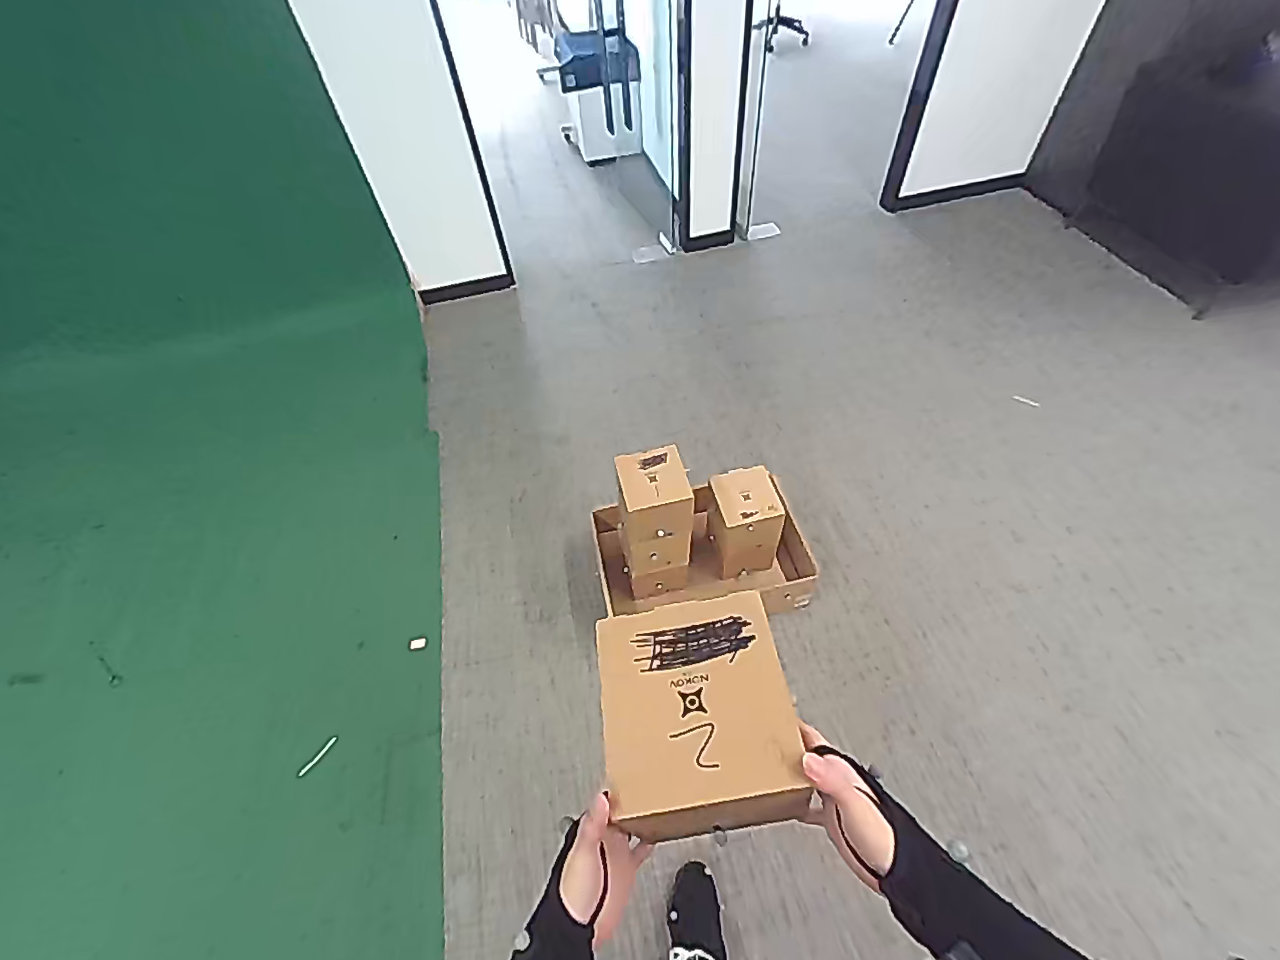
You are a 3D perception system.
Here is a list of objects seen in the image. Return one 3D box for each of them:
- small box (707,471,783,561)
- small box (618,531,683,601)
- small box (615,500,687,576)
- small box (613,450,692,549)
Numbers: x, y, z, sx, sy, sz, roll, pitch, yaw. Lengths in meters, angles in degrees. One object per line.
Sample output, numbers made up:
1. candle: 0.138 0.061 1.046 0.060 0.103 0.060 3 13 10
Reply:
1. small box: 0.290 0.104 1.543 0.168 0.176 0.179 -12 52 -4
2. small box: 0.034 0.253 1.649 0.168 0.176 0.179 -11 52 -6
3. small box: 0.032 0.154 1.522 0.168 0.176 0.179 -12 52 -6
4. small box: 0.029 0.052 1.393 0.168 0.176 0.179 -12 53 -6
